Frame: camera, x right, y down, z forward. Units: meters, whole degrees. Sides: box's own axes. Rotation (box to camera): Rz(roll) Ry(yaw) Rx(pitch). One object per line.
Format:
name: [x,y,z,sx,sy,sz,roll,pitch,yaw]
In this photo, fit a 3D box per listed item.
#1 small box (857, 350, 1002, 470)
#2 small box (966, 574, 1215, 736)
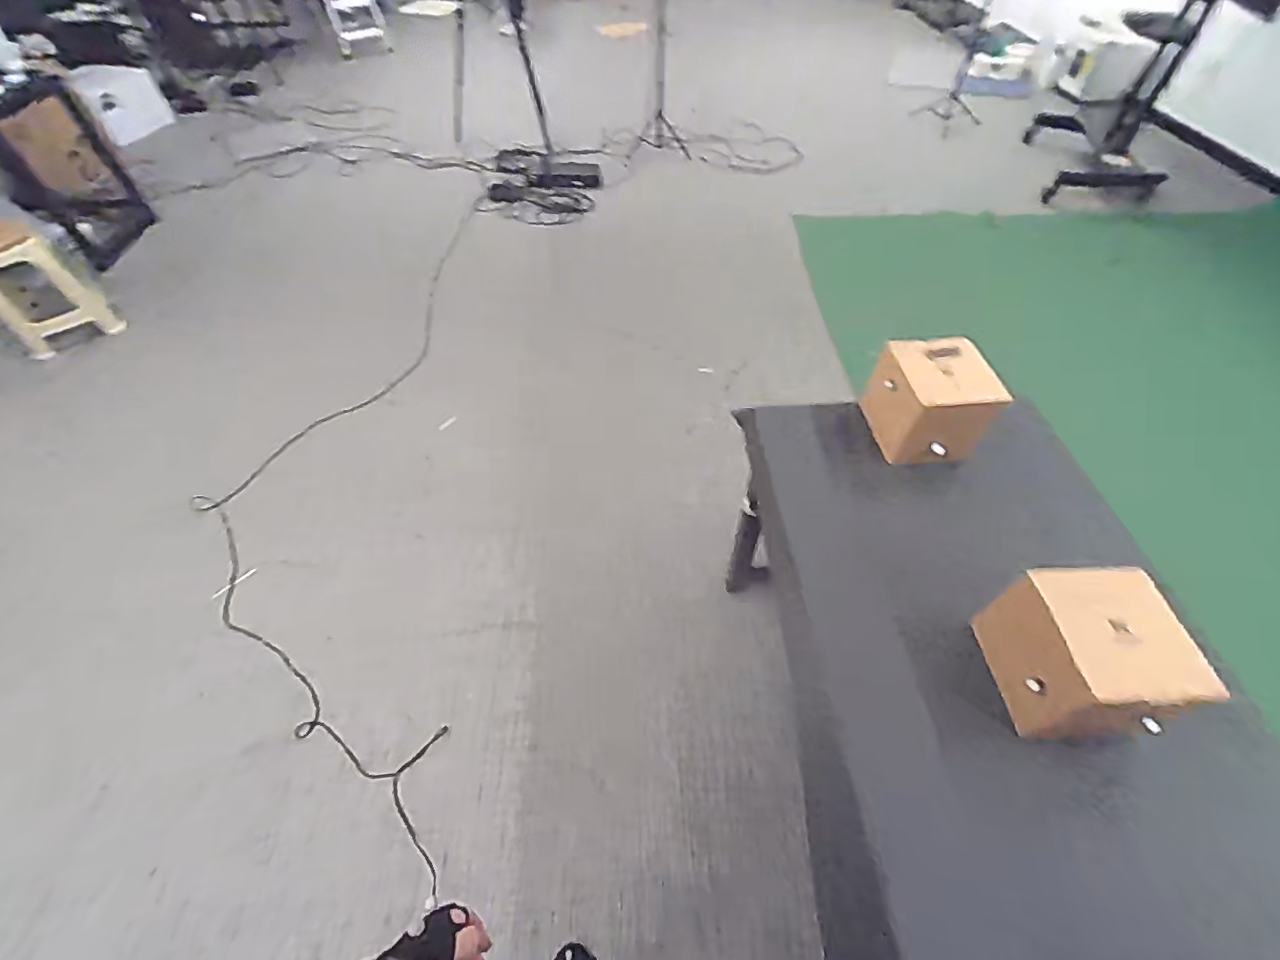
small box: [0.559,-0.139,1.078,0.168,0.176,0.179,-3,52,-5]
small box: [0.609,0.251,0.763,0.168,0.176,0.179,0,49,-5]
